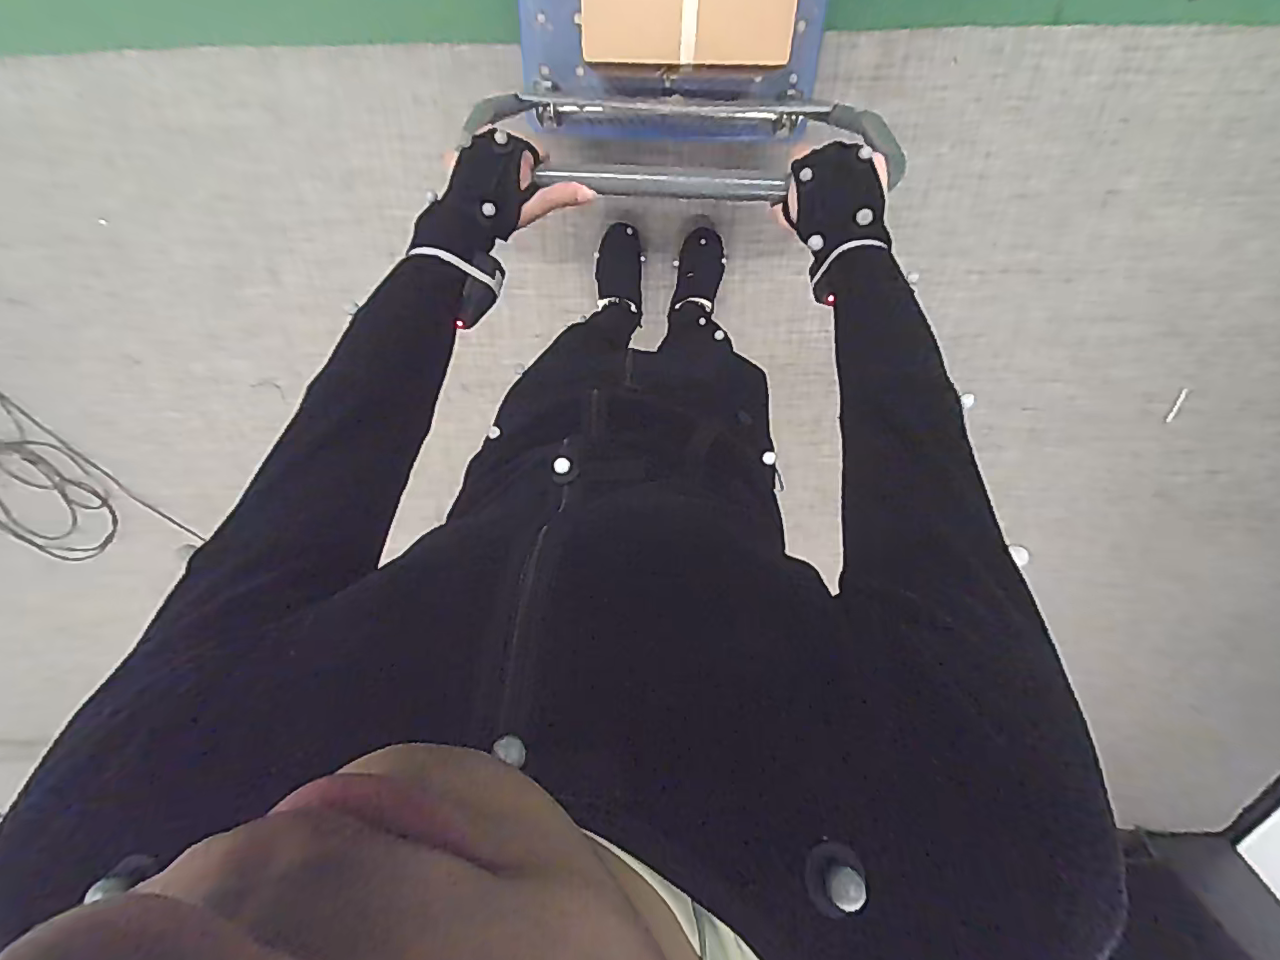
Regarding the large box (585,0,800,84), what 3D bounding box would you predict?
[{"bbox_3d":[0.082,-0.872,0.837,0.320,0.320,0.408,2,123,0],"label":"large box"}]
